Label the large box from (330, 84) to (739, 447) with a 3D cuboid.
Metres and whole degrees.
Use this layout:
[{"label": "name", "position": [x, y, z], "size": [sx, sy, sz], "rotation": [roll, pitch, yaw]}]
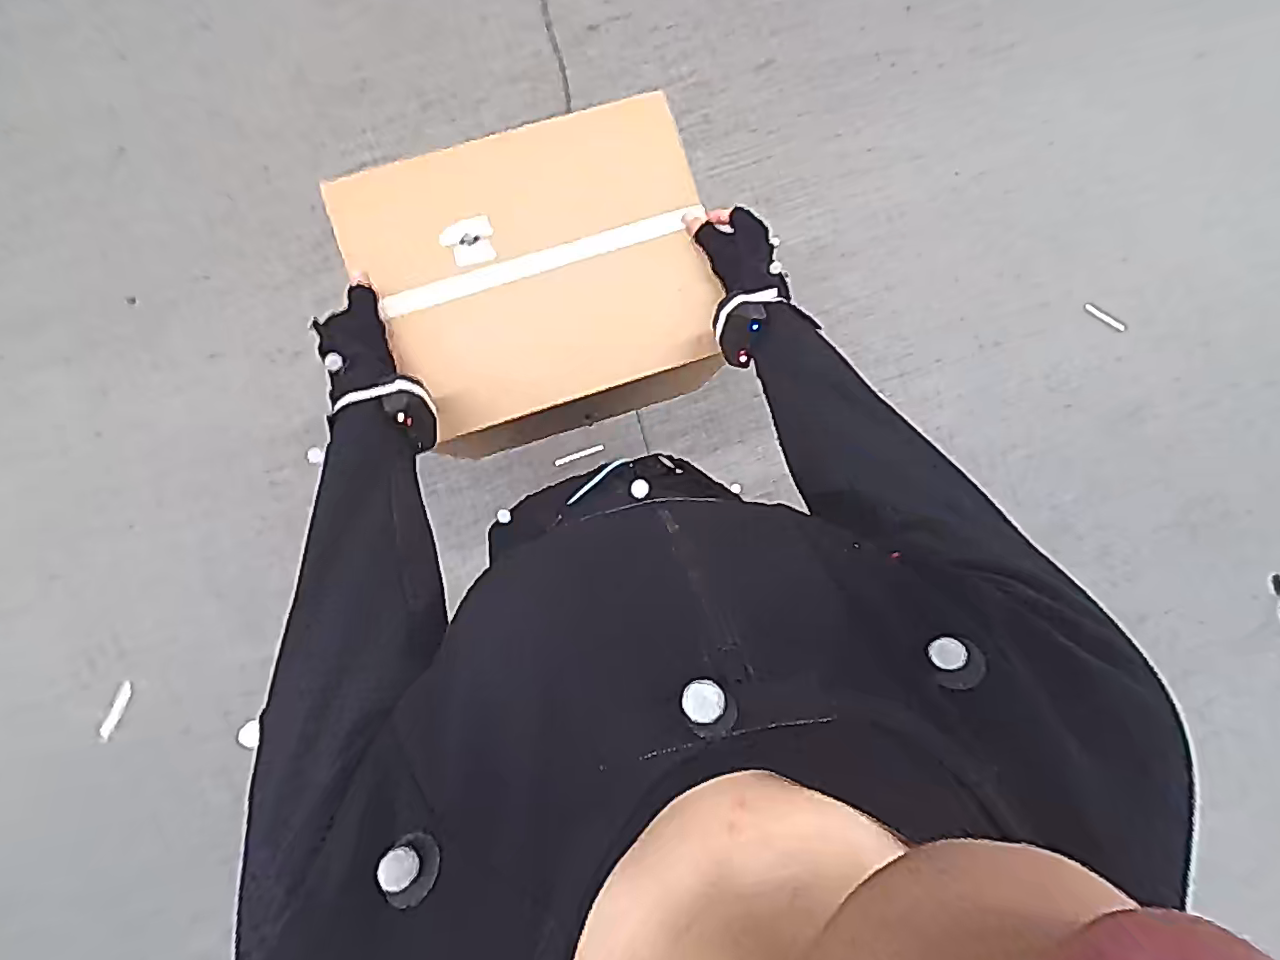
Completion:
[{"label": "large box", "position": [-0.124, -0.256, 0.767], "size": [0.408, 0.320, 0.320], "rotation": [-18, 90, -3]}]
